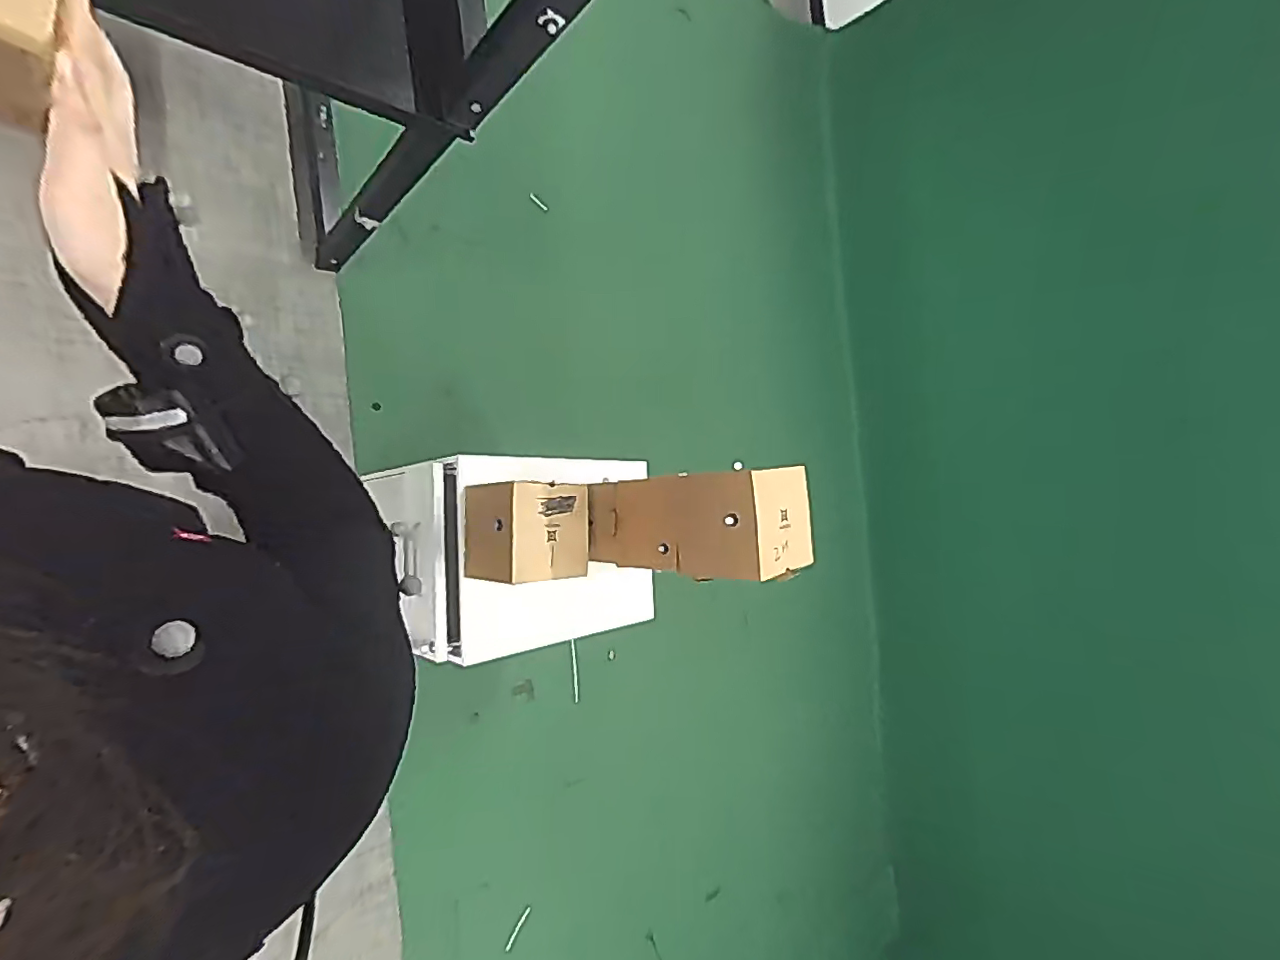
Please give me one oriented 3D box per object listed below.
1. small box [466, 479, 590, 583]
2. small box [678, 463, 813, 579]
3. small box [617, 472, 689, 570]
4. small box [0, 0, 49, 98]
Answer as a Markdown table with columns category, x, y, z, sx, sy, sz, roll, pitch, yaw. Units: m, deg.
| category | x | y | z | sx | sy | sz | roll | pitch | yaw |
| --- | --- | --- | --- | --- | --- | --- | --- | --- | --- |
| small box | -0.211 | 0.093 | 1.010 | 0.168 | 0.176 | 0.179 | 4 | 85 | -45 |
| small box | 0.179 | 0.067 | 0.941 | 0.168 | 0.176 | 0.179 | -6 | 91 | -44 |
| small box | 0.068 | 0.081 | 1.061 | 0.168 | 0.176 | 0.179 | 5 | 84 | -45 |
| small box | -0.288 | -0.255 | 0.157 | 0.168 | 0.176 | 0.179 | 4 | 100 | -51 |
